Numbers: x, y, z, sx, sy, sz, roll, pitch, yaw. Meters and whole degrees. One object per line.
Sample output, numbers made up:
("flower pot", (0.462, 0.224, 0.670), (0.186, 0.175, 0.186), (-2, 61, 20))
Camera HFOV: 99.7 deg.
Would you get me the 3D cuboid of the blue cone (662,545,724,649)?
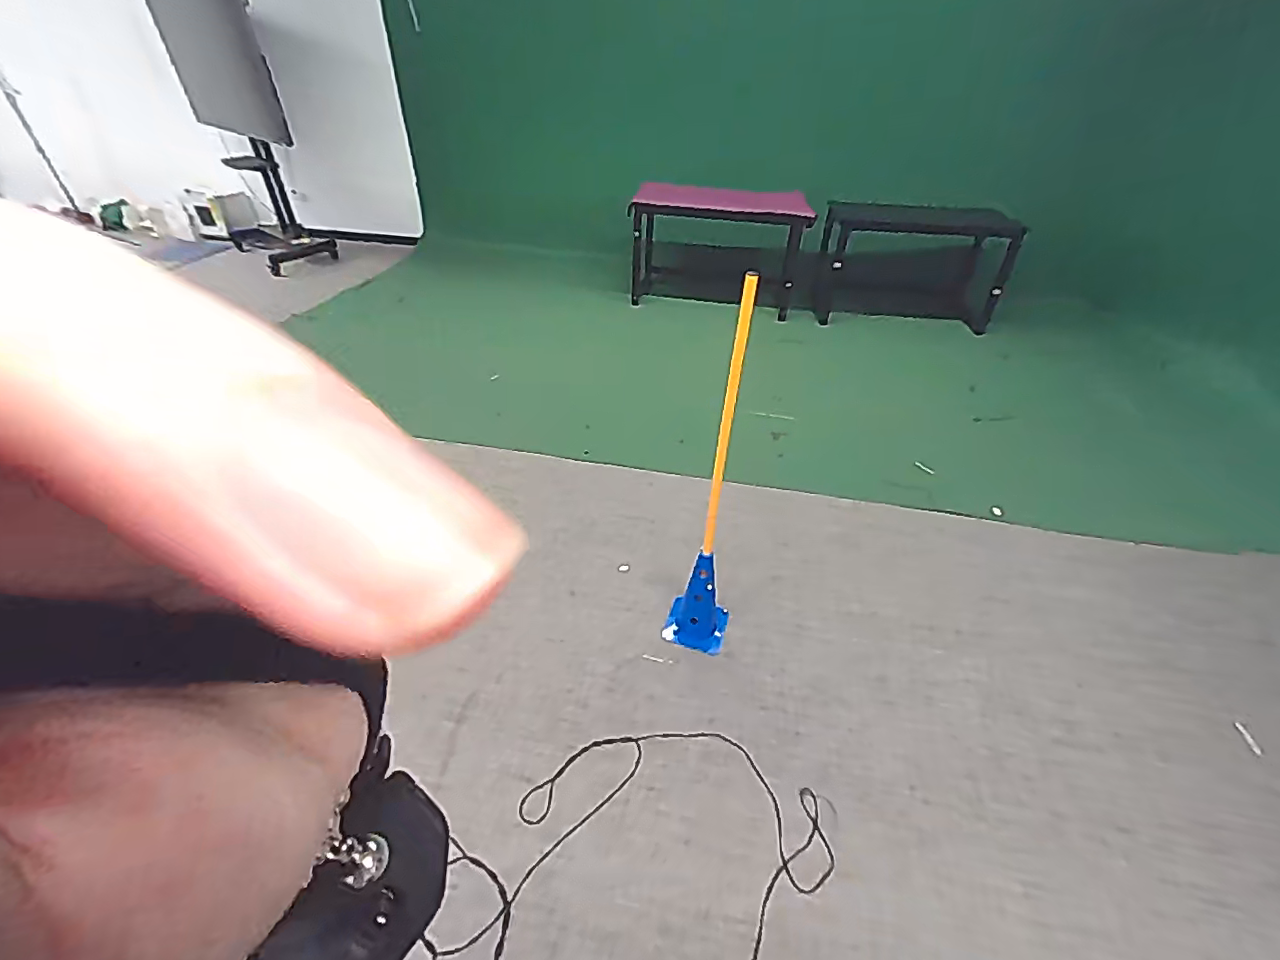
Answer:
("blue cone", (0.192, 0.367, 1.778), (0.193, 0.380, 0.192), (15, 39, 15))
